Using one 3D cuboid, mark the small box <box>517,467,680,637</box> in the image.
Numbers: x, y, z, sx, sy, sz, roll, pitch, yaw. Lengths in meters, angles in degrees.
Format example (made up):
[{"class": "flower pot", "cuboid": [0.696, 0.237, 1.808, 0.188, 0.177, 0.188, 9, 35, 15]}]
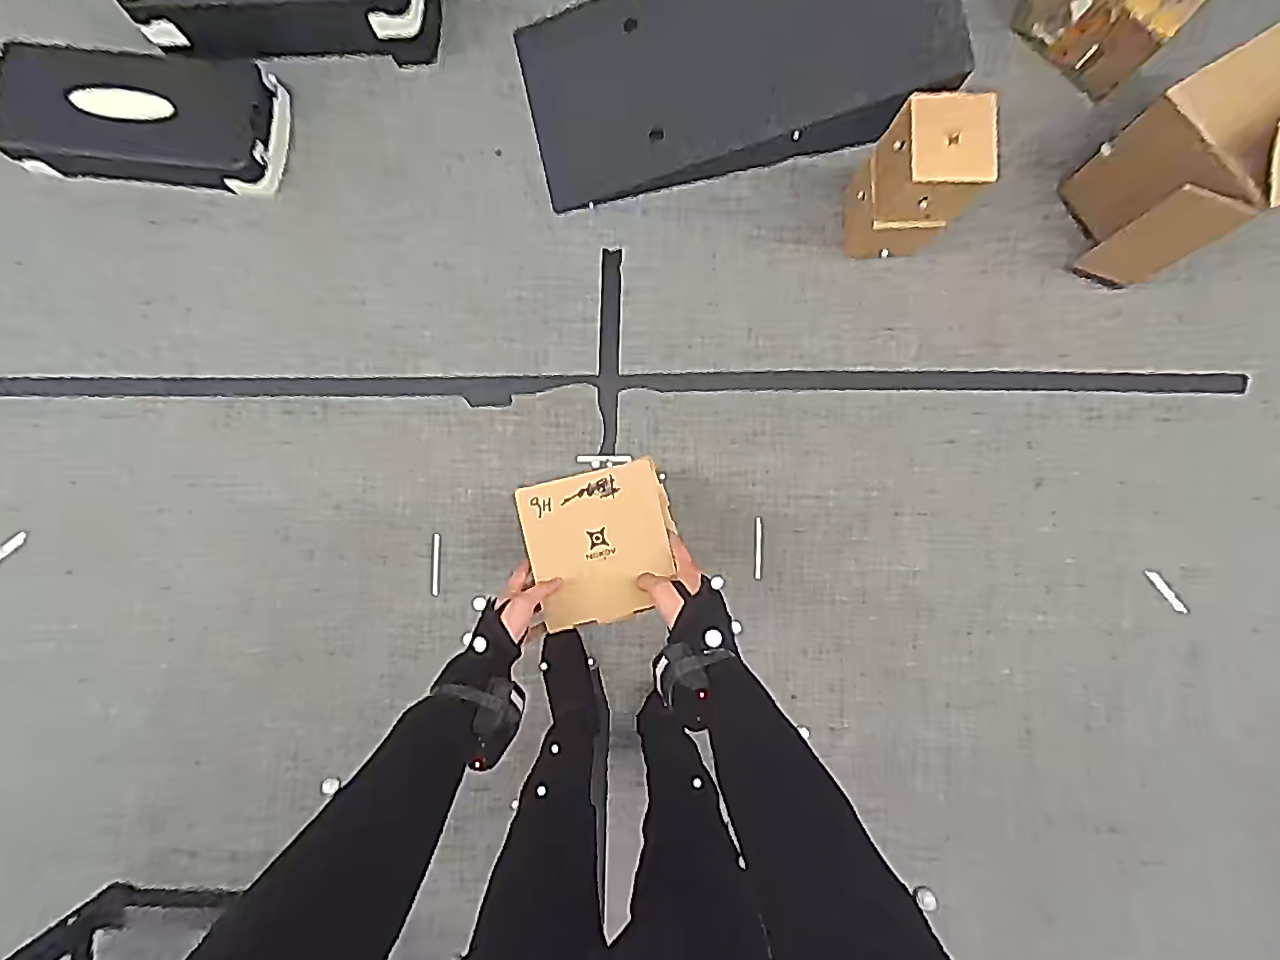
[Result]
[{"class": "small box", "cuboid": [-0.048, 0.084, 0.714, 0.168, 0.176, 0.179, -13, 89, -1]}]
